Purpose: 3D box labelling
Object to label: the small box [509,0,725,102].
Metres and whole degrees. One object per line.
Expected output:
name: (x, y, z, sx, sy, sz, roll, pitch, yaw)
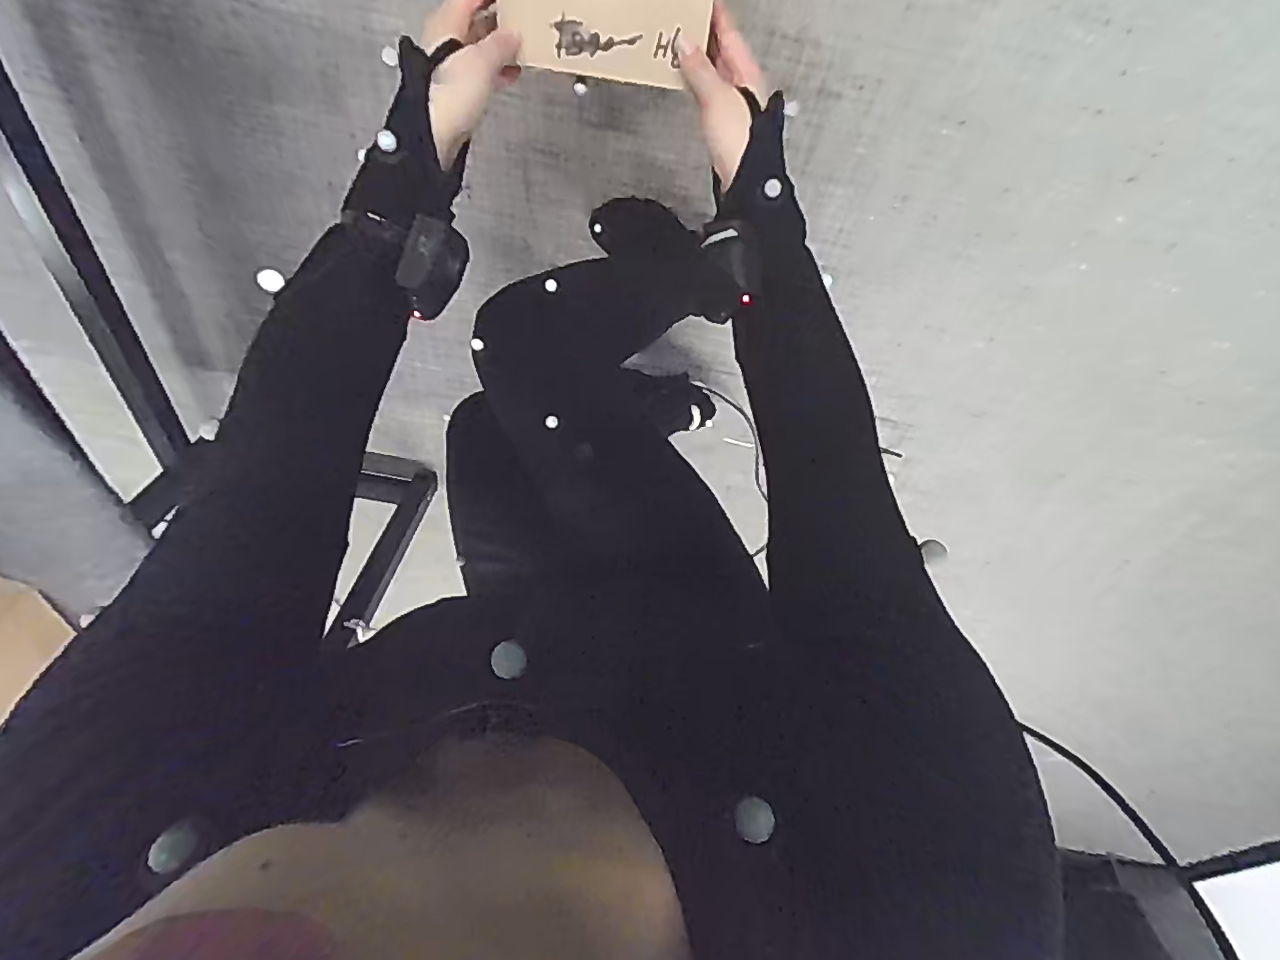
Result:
small box: (-0.010, -0.440, 0.451, 0.168, 0.176, 0.179, 8, 129, -3)
